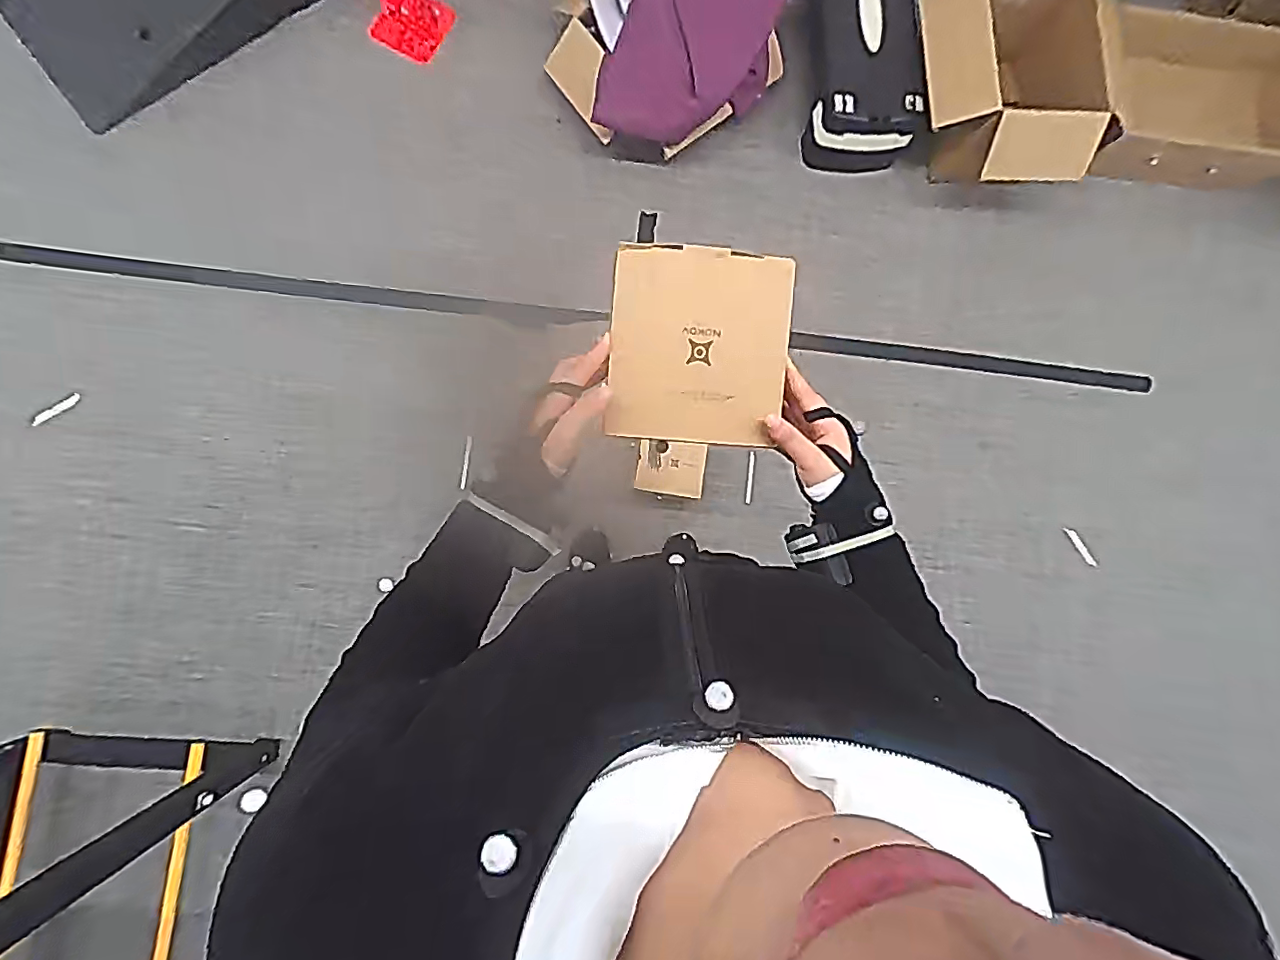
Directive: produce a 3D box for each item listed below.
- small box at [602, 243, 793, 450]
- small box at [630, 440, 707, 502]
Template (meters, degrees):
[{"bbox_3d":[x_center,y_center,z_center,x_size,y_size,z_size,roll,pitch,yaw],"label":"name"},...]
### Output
[{"bbox_3d":[0.047,-0.128,0.574,0.168,0.176,0.179,3,96,-5],"label":"small box"},{"bbox_3d":[0.071,-0.034,1.460,0.179,0.176,0.168,9,85,-4],"label":"small box"}]
